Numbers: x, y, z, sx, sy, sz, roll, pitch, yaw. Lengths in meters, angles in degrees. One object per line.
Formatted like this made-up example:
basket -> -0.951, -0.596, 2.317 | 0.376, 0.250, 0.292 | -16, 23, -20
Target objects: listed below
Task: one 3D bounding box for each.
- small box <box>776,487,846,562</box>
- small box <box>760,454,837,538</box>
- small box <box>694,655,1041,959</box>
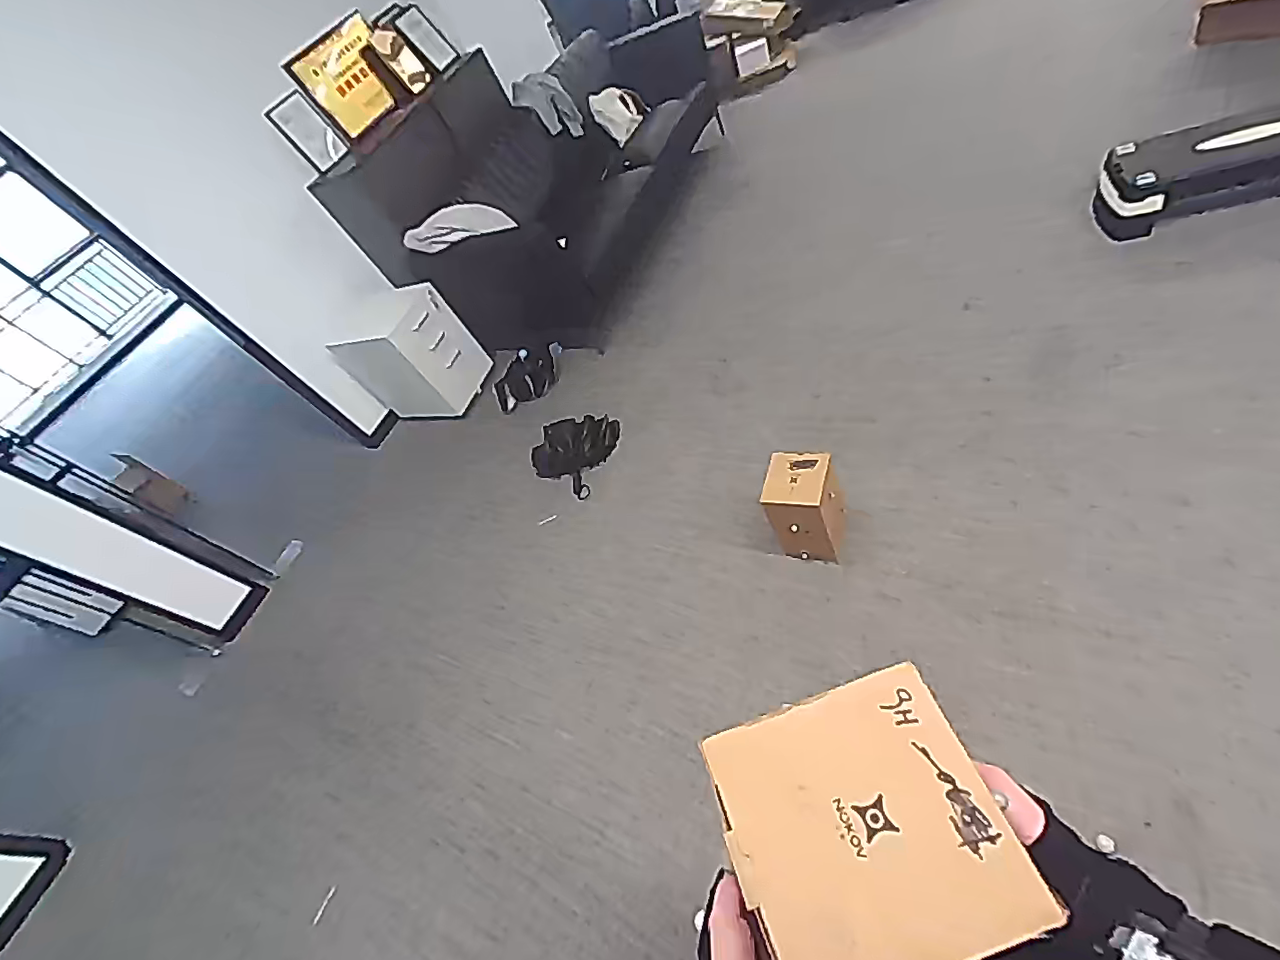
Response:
small box -> 0.534, 0.133, 1.678 | 0.168, 0.176, 0.179 | 3, 58, 32
small box -> 0.463, 0.043, 1.559 | 0.168, 0.176, 0.179 | 3, 57, 32
small box -> 0.160, 0.269, 0.441 | 0.179, 0.176, 0.168 | -21, 57, -1
